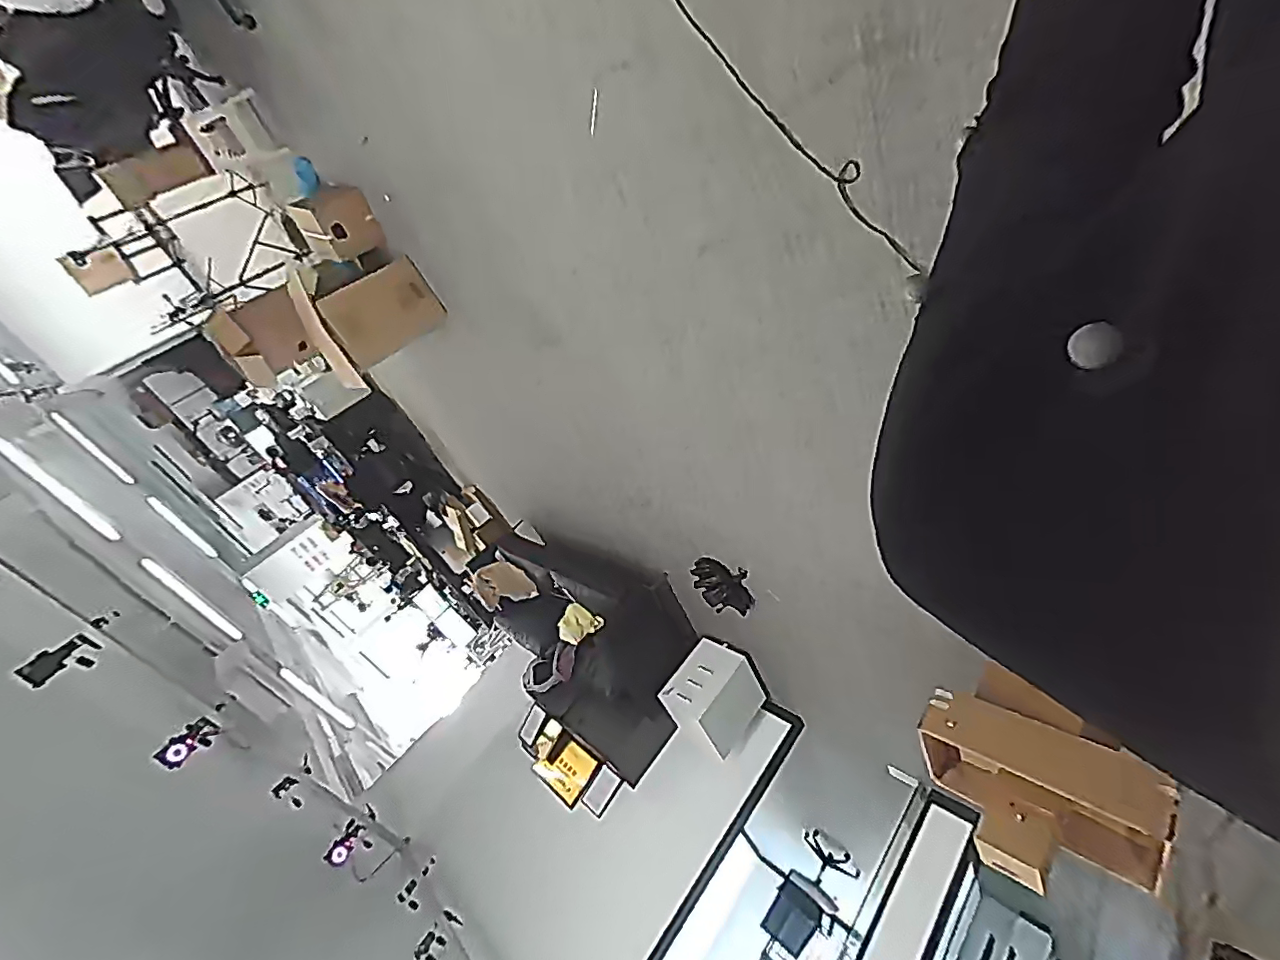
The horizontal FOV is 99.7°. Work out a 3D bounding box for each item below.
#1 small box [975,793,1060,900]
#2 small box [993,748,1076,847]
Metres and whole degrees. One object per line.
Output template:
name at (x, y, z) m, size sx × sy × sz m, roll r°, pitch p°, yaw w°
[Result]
small box at (1.128, 1.085, 1.609) m, size 0.168 × 0.176 × 0.179 m, roll 8°, pitch 135°, yaw 49°
small box at (1.230, 0.979, 1.680) m, size 0.168 × 0.176 × 0.179 m, roll 6°, pitch 134°, yaw 51°
